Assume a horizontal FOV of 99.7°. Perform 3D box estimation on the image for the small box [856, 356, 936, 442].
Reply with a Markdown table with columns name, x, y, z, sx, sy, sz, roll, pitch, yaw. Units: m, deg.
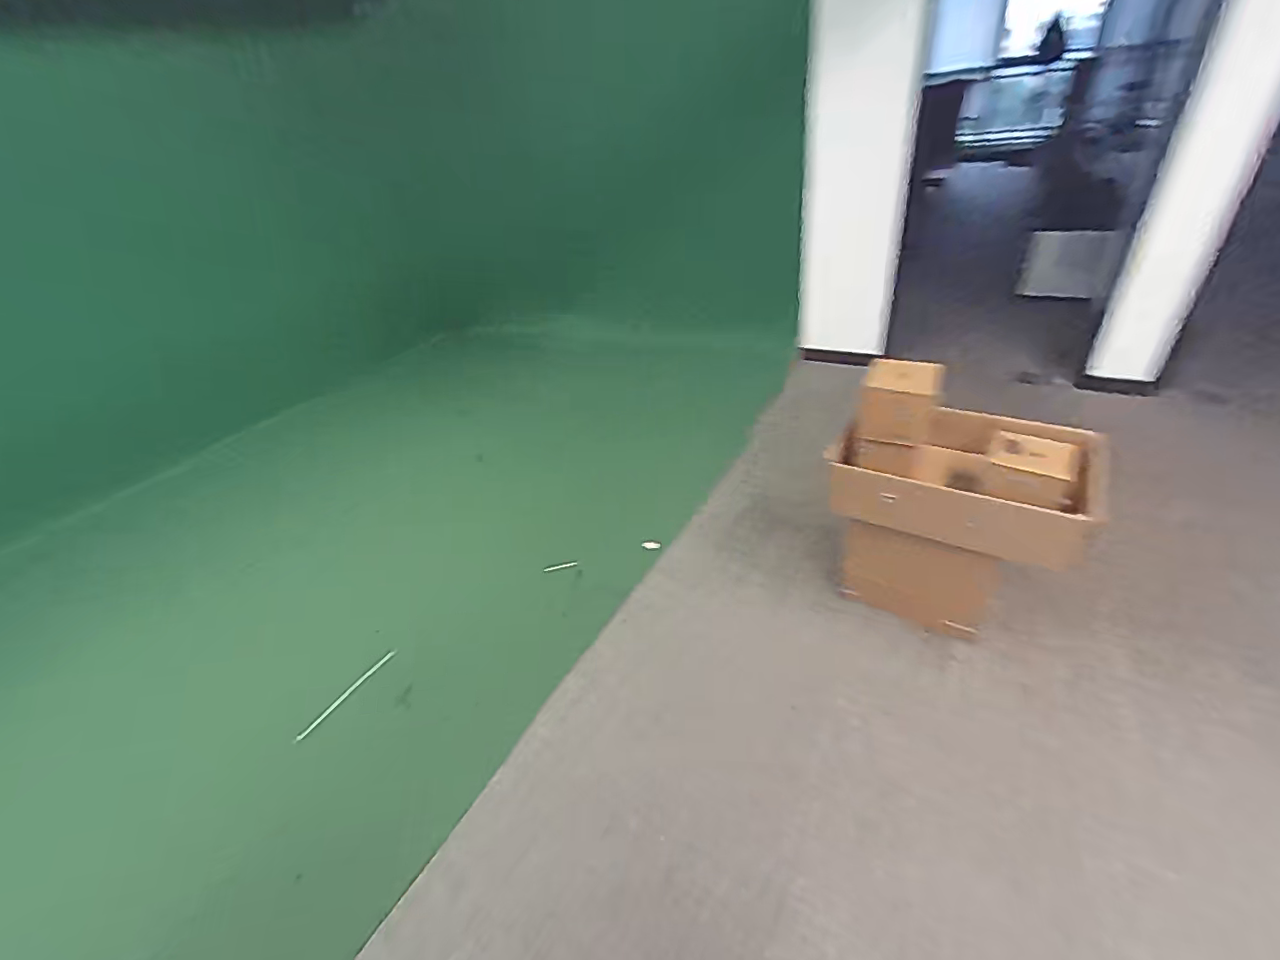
| name | x | y | z | sx | sy | sz | roll | pitch | yaw |
| --- | --- | --- | --- | --- | --- | --- | --- | --- | --- |
| small box | 0.704 | -0.225 | 1.497 | 0.168 | 0.176 | 0.179 | 13 | 42 | 27 |
